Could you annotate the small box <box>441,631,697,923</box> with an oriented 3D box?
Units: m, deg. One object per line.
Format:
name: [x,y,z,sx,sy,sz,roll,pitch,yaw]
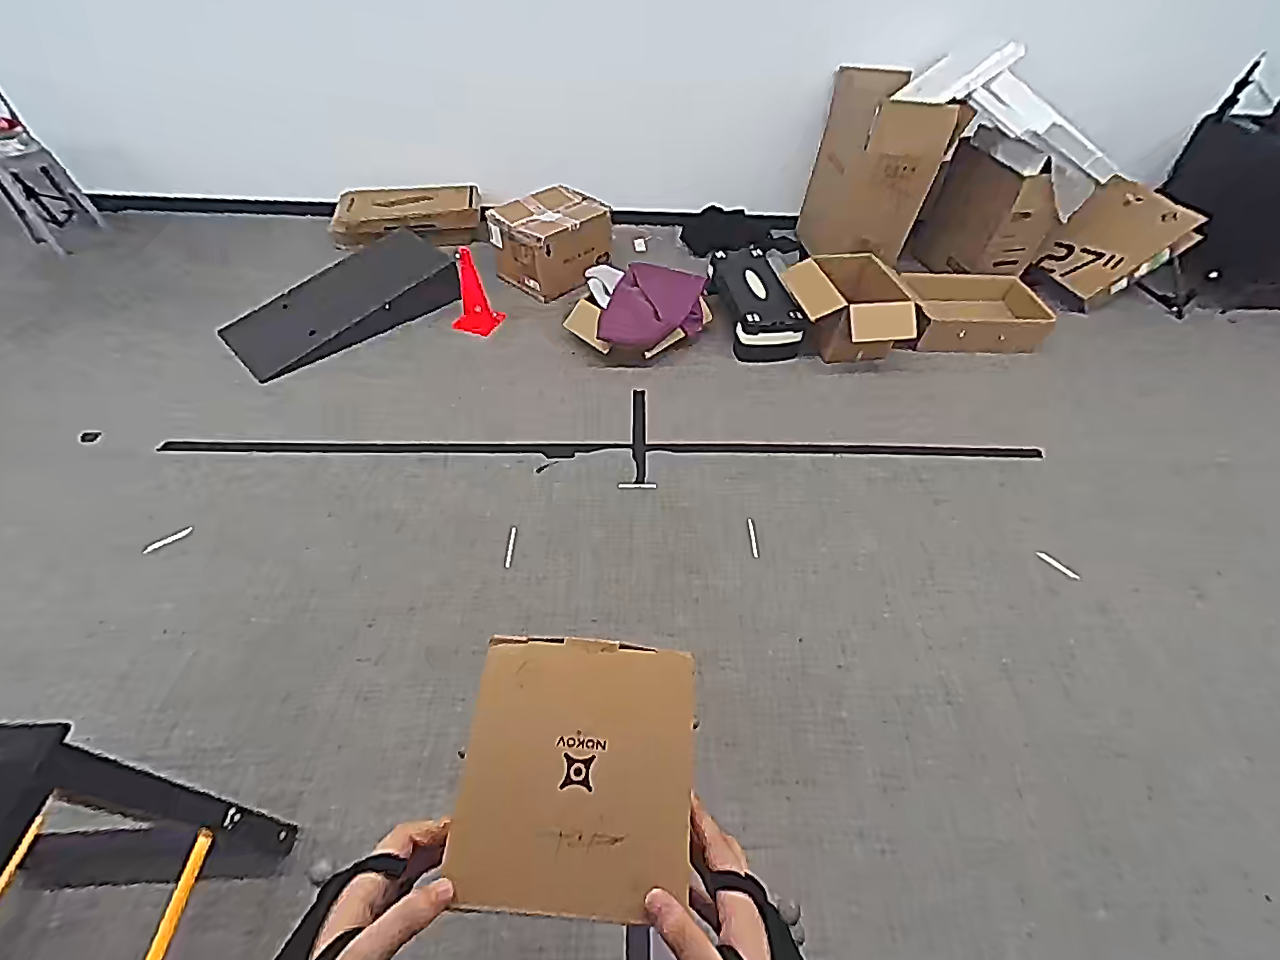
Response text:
small box: [-0.046,0.242,0.457,0.168,0.176,0.179,5,60,0]
